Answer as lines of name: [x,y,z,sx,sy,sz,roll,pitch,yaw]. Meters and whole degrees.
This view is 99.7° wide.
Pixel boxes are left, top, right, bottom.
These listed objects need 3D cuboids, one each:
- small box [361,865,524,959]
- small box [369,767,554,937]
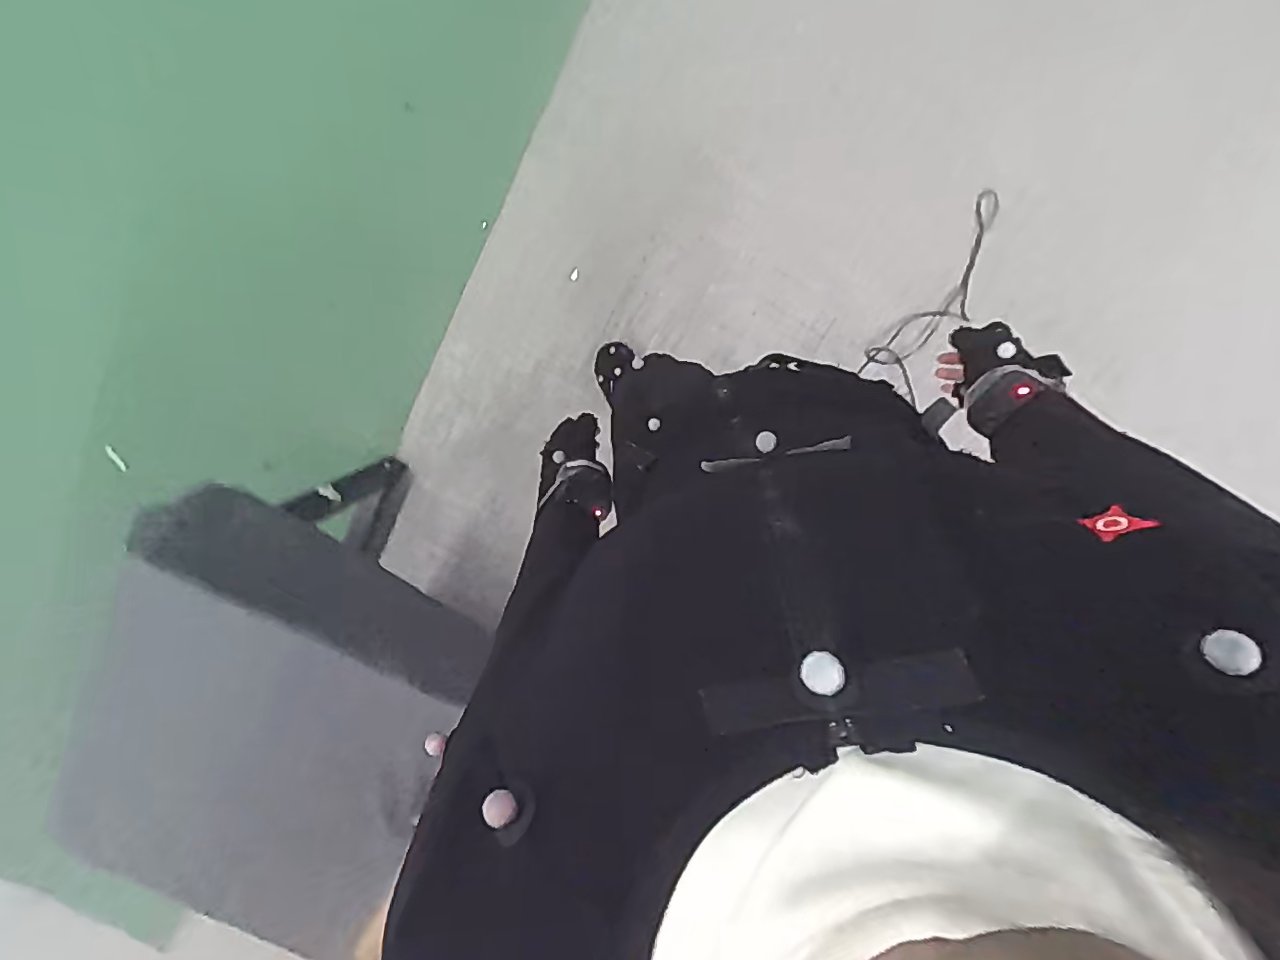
small box: [-0.253,0.608,0.634,0.168,0.176,0.179,30,104,-4]
small box: [-0.247,0.567,0.792,0.179,0.176,0.168,30,104,-3]
